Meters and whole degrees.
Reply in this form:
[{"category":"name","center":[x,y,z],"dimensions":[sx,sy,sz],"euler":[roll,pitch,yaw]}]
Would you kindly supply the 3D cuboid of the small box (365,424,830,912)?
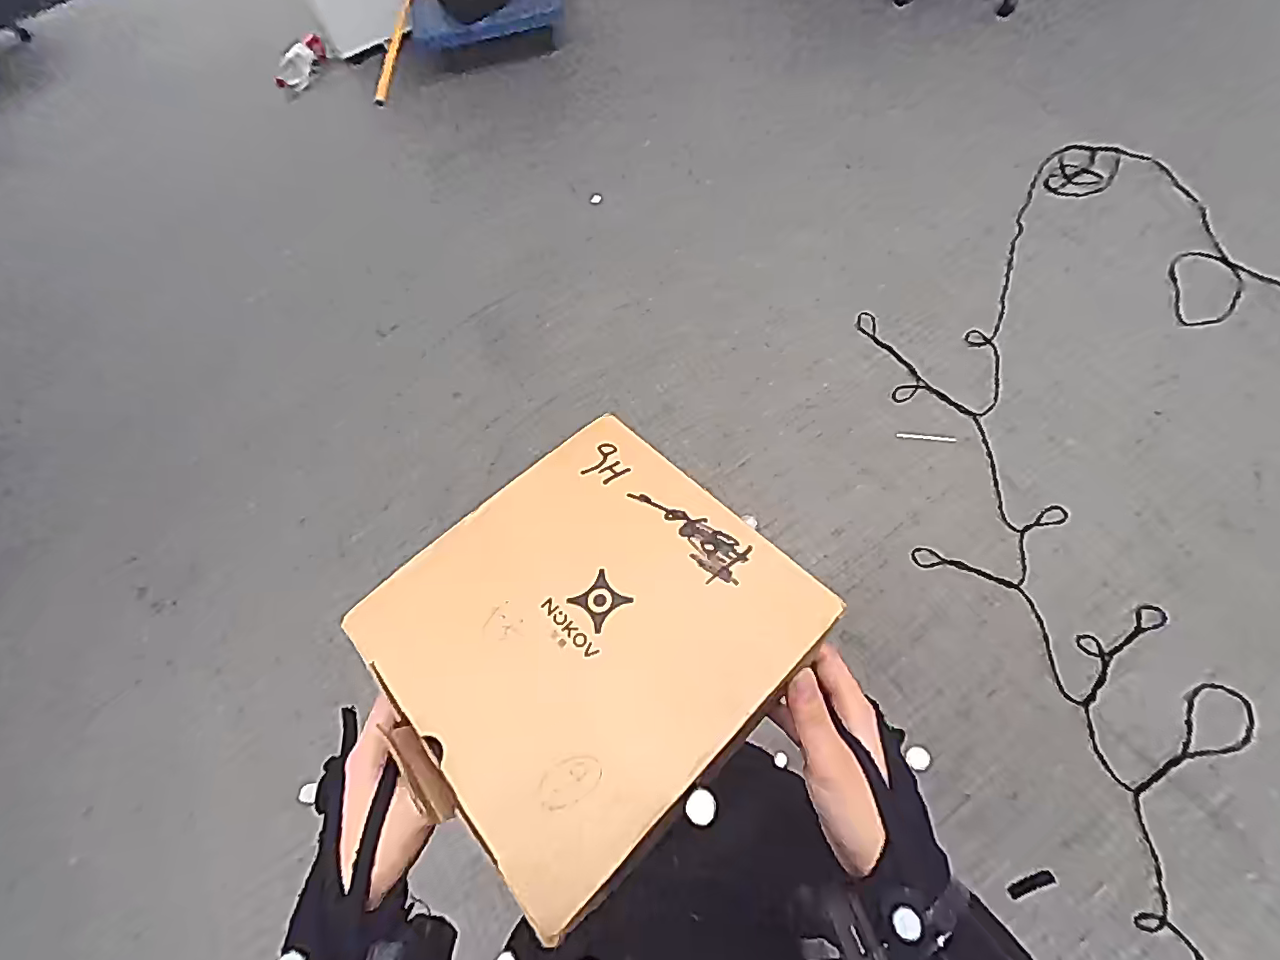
[{"category":"small box","center":[-0.016,0.107,0.330],"dimensions":[0.179,0.176,0.168],"euler":[-40,63,-18]}]
